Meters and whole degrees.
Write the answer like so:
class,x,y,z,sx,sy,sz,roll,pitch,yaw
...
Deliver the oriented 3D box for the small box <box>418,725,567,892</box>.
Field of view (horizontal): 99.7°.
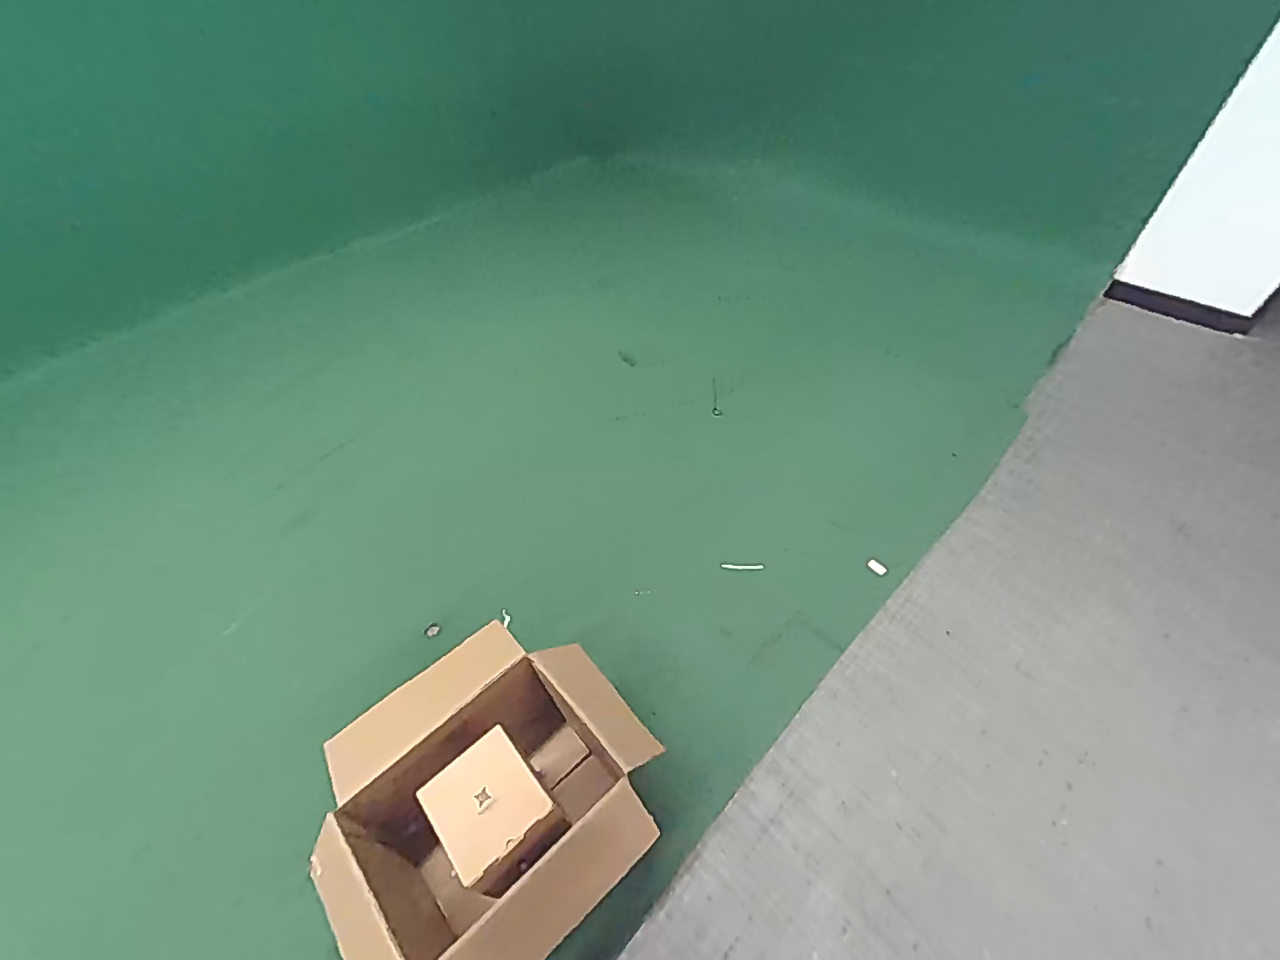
class,x,y,z,sx,sy,sz,roll,pitch,yaw
small box,-0.250,0.575,0.942,0.168,0.176,0.179,-35,55,-24
